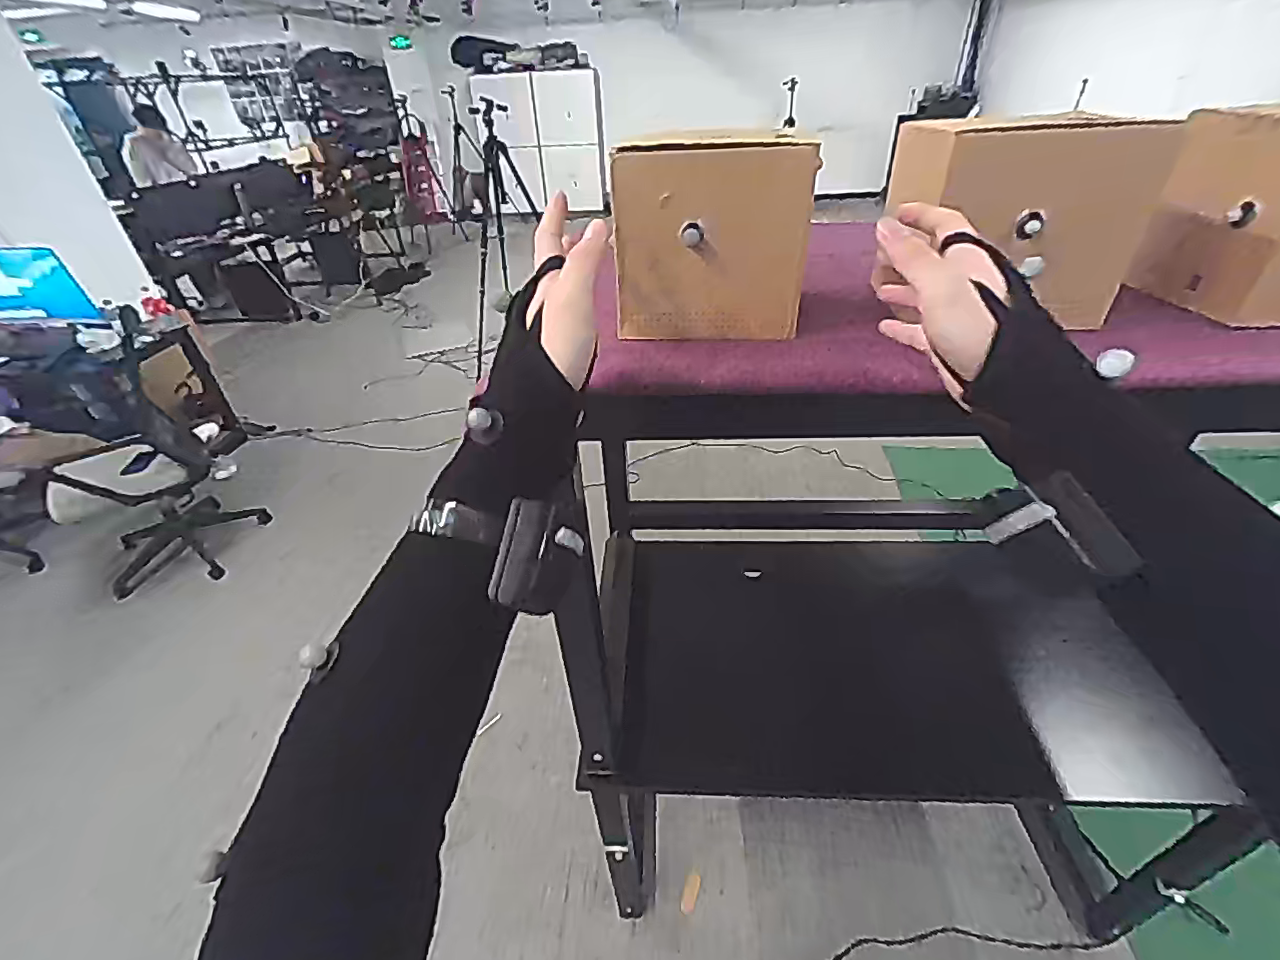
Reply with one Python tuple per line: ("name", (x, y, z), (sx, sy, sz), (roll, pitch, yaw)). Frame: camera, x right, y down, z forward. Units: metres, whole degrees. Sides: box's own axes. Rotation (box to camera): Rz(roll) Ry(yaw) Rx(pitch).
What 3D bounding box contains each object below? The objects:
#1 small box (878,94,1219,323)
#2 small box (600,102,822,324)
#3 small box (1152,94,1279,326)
("small box", (0.348, -0.256, 0.510), (0.179, 0.176, 0.168), (3, 36, 8))
("small box", (0.067, -0.261, 0.528), (0.179, 0.176, 0.168), (3, 38, 7))
("small box", (0.621, -0.242, 0.482), (0.179, 0.176, 0.168), (2, 37, 5))
